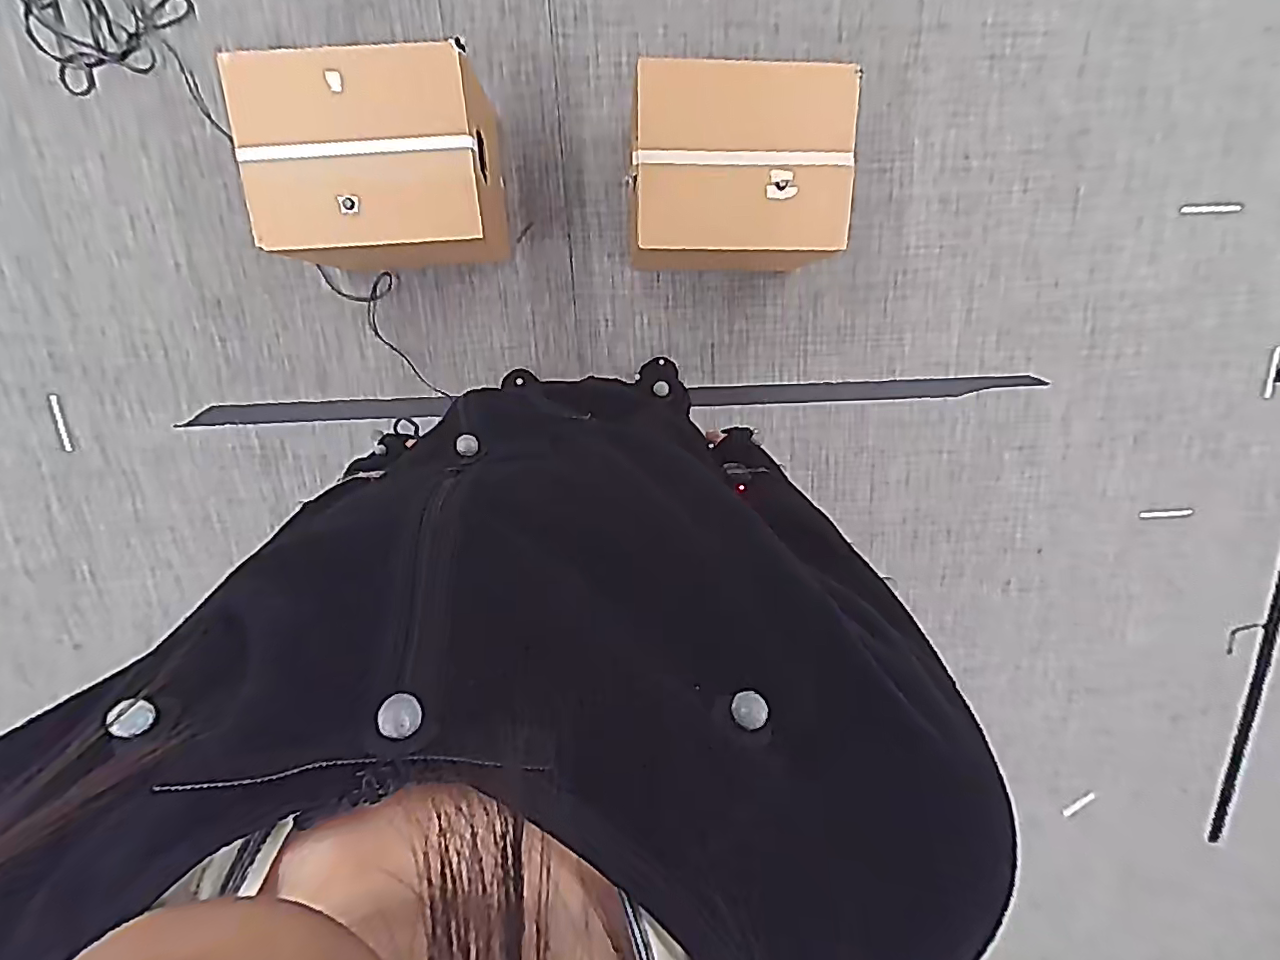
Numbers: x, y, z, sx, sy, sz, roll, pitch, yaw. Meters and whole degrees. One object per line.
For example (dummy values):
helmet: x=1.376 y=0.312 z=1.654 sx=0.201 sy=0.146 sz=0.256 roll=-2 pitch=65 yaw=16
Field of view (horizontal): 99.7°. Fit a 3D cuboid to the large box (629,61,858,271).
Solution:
large box: x=0.187 y=-0.630 z=1.145 sx=0.408 sy=0.320 sz=0.320 roll=-1 pitch=105 yaw=-4
